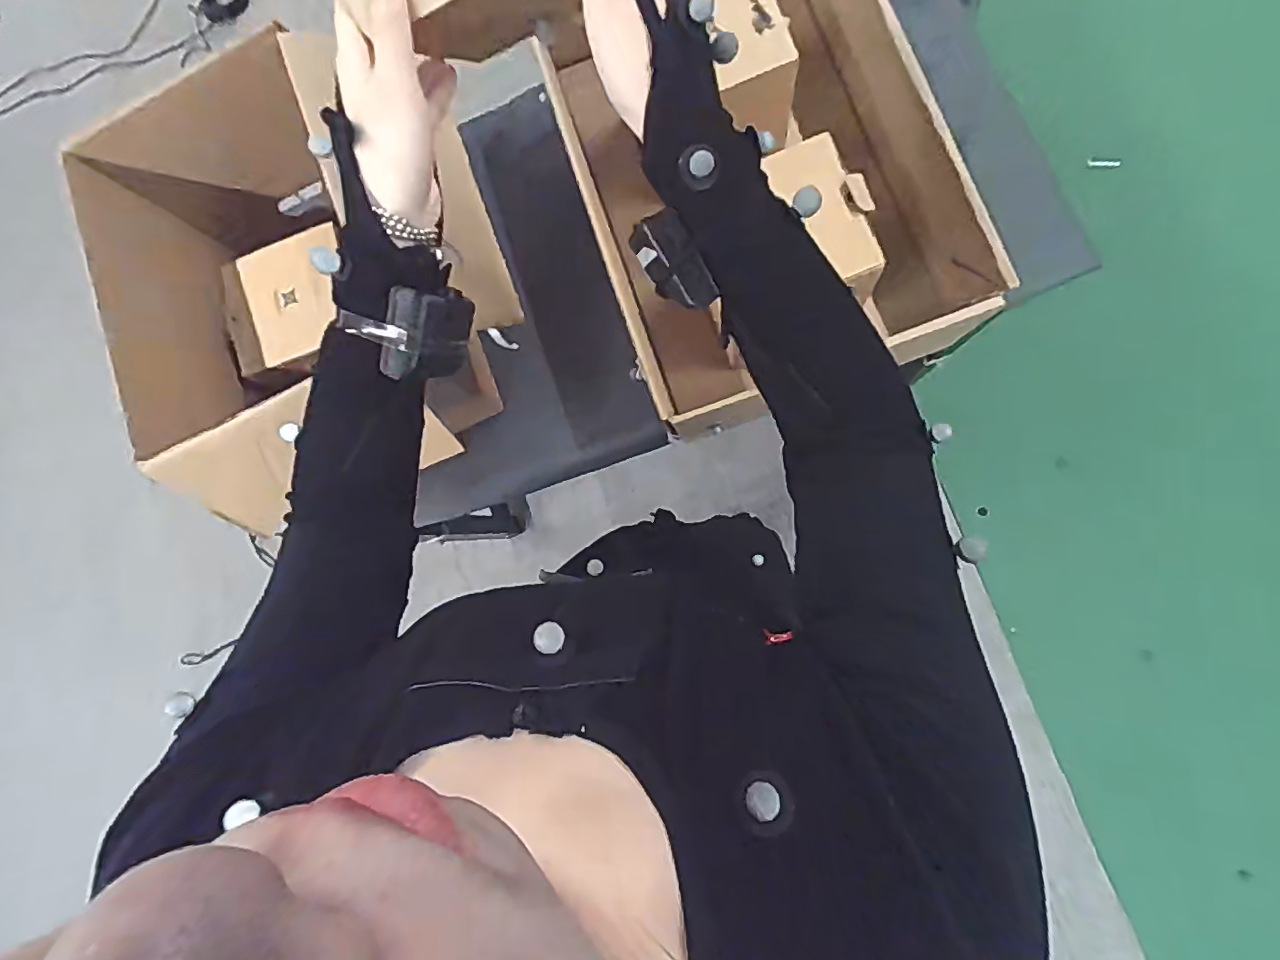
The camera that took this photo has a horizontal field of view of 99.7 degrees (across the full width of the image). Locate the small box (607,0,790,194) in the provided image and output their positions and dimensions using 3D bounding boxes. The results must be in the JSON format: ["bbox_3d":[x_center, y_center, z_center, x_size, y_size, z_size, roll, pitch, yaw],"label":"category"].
[{"bbox_3d":[0.078,-0.513,0.700,0.179,0.176,0.168,-19,85,8],"label":"small box"}]

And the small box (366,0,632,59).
[{"bbox_3d":[-0.090,-0.387,0.321,0.168,0.176,0.179,-11,122,17],"label":"small box"}]
